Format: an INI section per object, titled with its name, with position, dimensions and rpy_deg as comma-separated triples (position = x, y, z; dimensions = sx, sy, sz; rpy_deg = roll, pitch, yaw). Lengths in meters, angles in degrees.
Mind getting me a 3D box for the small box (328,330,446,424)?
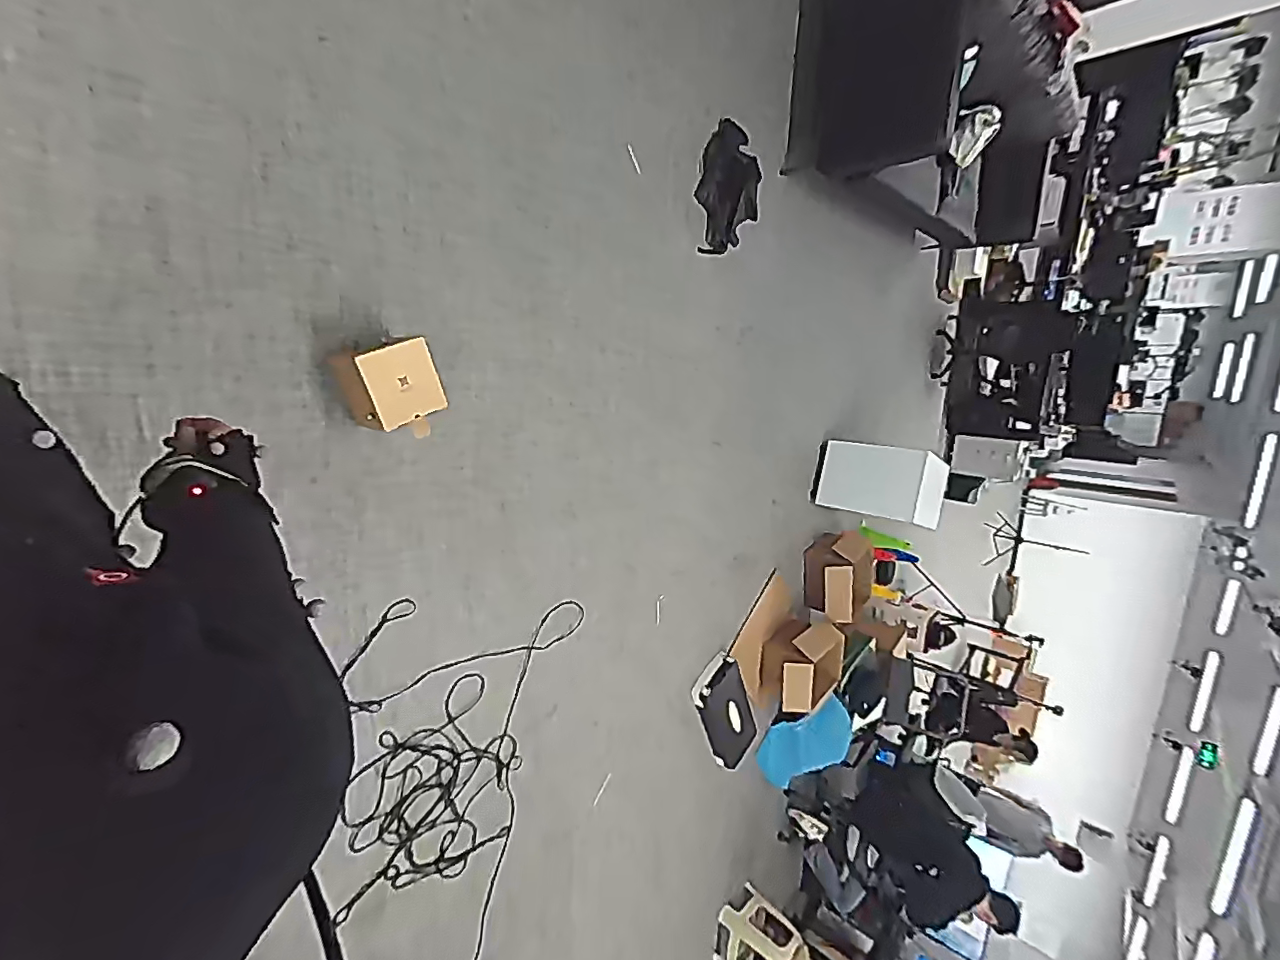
[small box]
position = -0.599, -0.247, 1.277
dimensions = 0.168, 0.176, 0.179
rpy_deg = -35, 125, -38
